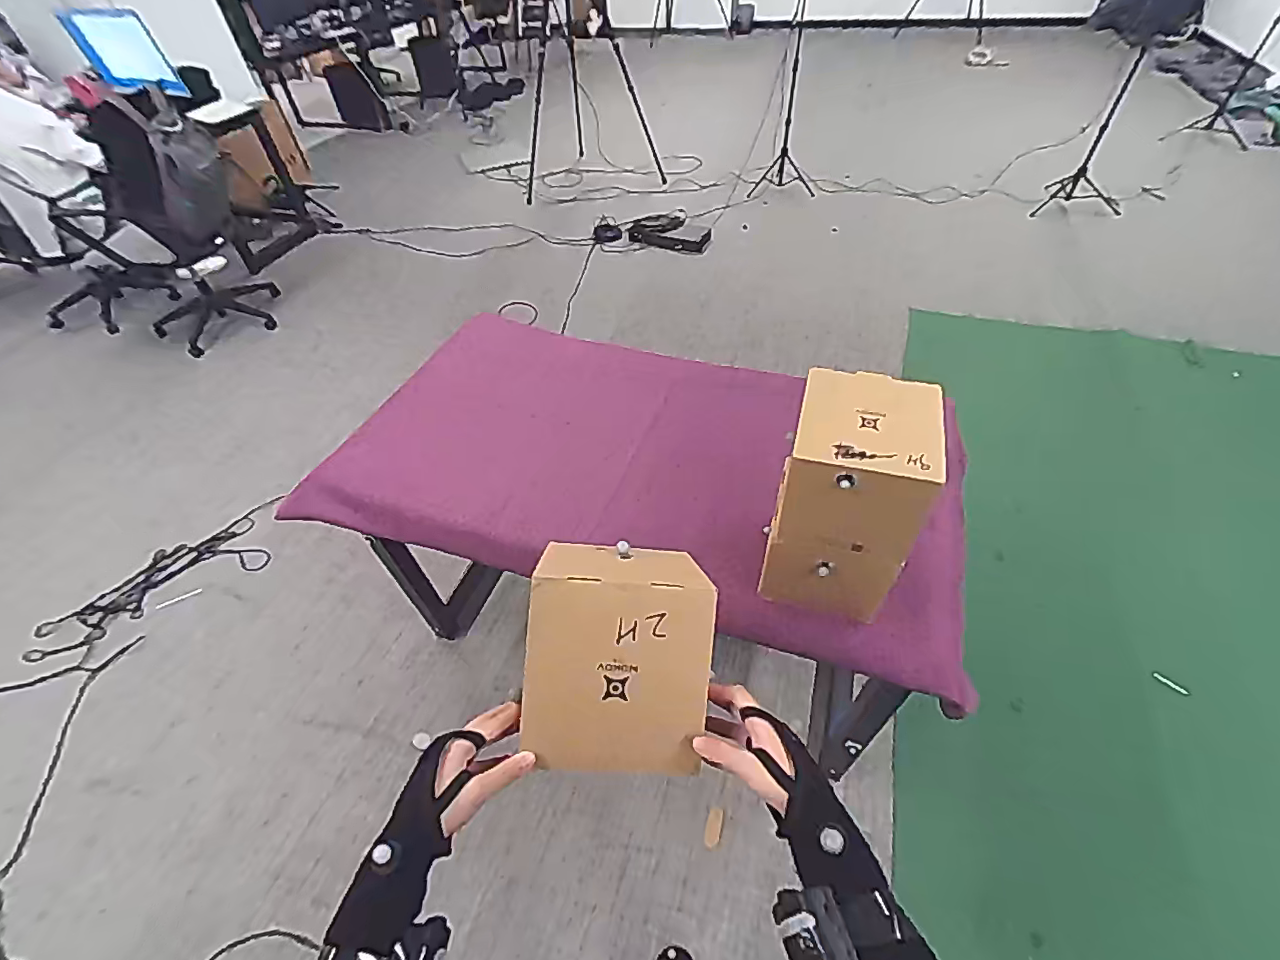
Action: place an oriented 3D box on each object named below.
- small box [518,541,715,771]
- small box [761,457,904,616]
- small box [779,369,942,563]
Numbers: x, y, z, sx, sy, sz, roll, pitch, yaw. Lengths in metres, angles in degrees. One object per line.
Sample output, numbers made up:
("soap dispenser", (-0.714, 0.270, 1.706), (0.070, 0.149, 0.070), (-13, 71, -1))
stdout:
("small box", (-0.026, 0.169, 0.563), (0.168, 0.176, 0.179), (5, 92, -5))
("small box", (0.293, 0.090, 0.836), (0.179, 0.176, 0.168), (10, 50, 16))
("small box", (0.283, -0.020, 0.715), (0.168, 0.176, 0.179), (10, 50, 17))
